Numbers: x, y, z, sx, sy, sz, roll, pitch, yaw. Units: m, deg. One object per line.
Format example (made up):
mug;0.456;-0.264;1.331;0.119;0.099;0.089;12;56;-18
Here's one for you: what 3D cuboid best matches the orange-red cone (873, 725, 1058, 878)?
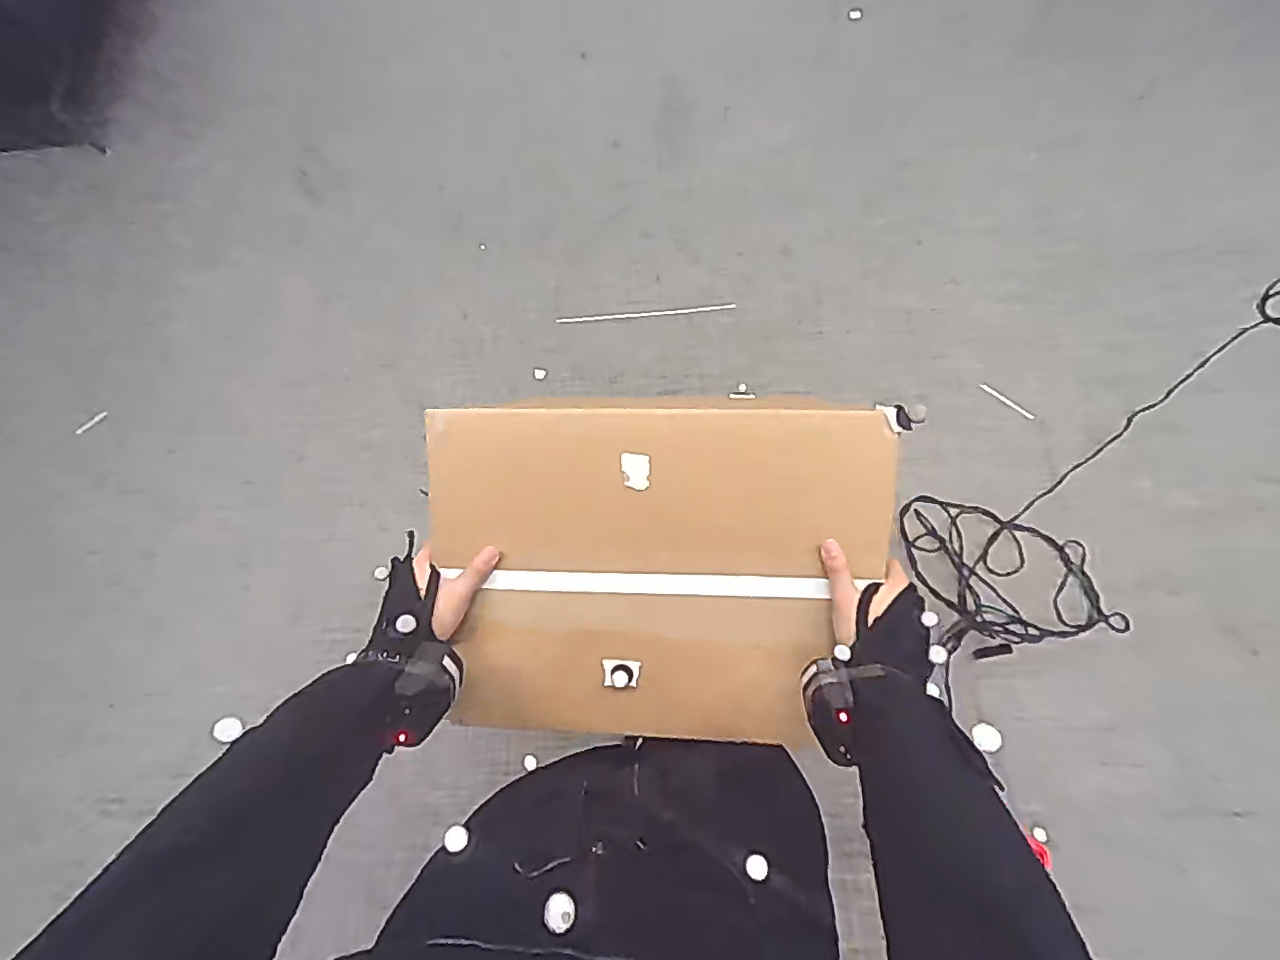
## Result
orange-red cone;0.558;0.558;0.891;0.199;0.360;0.198;17;76;9
